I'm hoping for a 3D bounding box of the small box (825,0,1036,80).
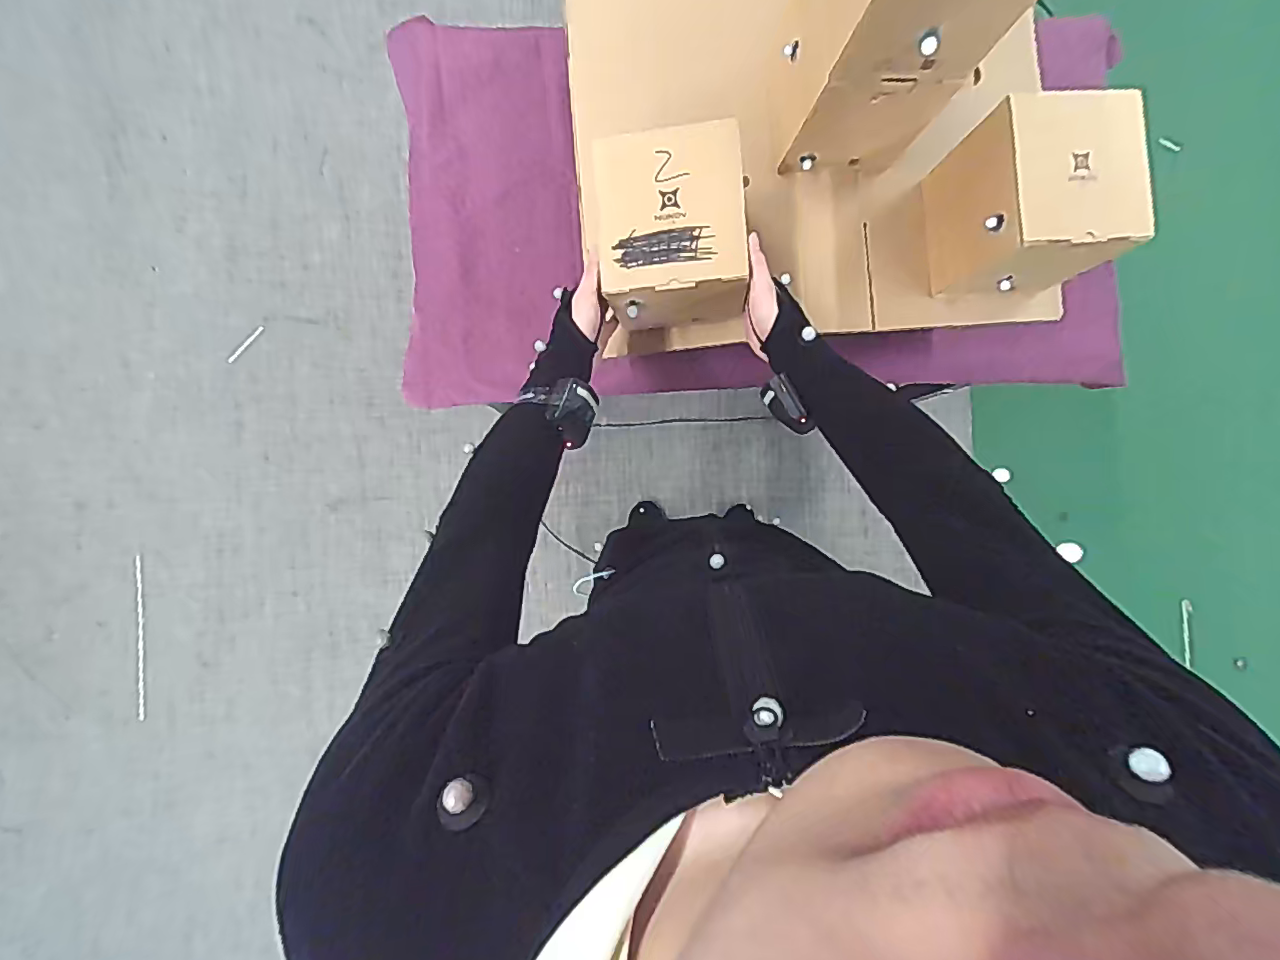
[{"bbox_3d":[0.284,-0.525,0.509,0.168,0.176,0.179,-5,89,-5],"label":"small box"}]

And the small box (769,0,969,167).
[{"bbox_3d":[0.270,-0.518,0.672,0.168,0.176,0.179,-5,88,-6],"label":"small box"}]

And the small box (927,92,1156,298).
[{"bbox_3d":[0.493,-0.350,0.689,0.168,0.176,0.179,-4,89,-5],"label":"small box"}]
